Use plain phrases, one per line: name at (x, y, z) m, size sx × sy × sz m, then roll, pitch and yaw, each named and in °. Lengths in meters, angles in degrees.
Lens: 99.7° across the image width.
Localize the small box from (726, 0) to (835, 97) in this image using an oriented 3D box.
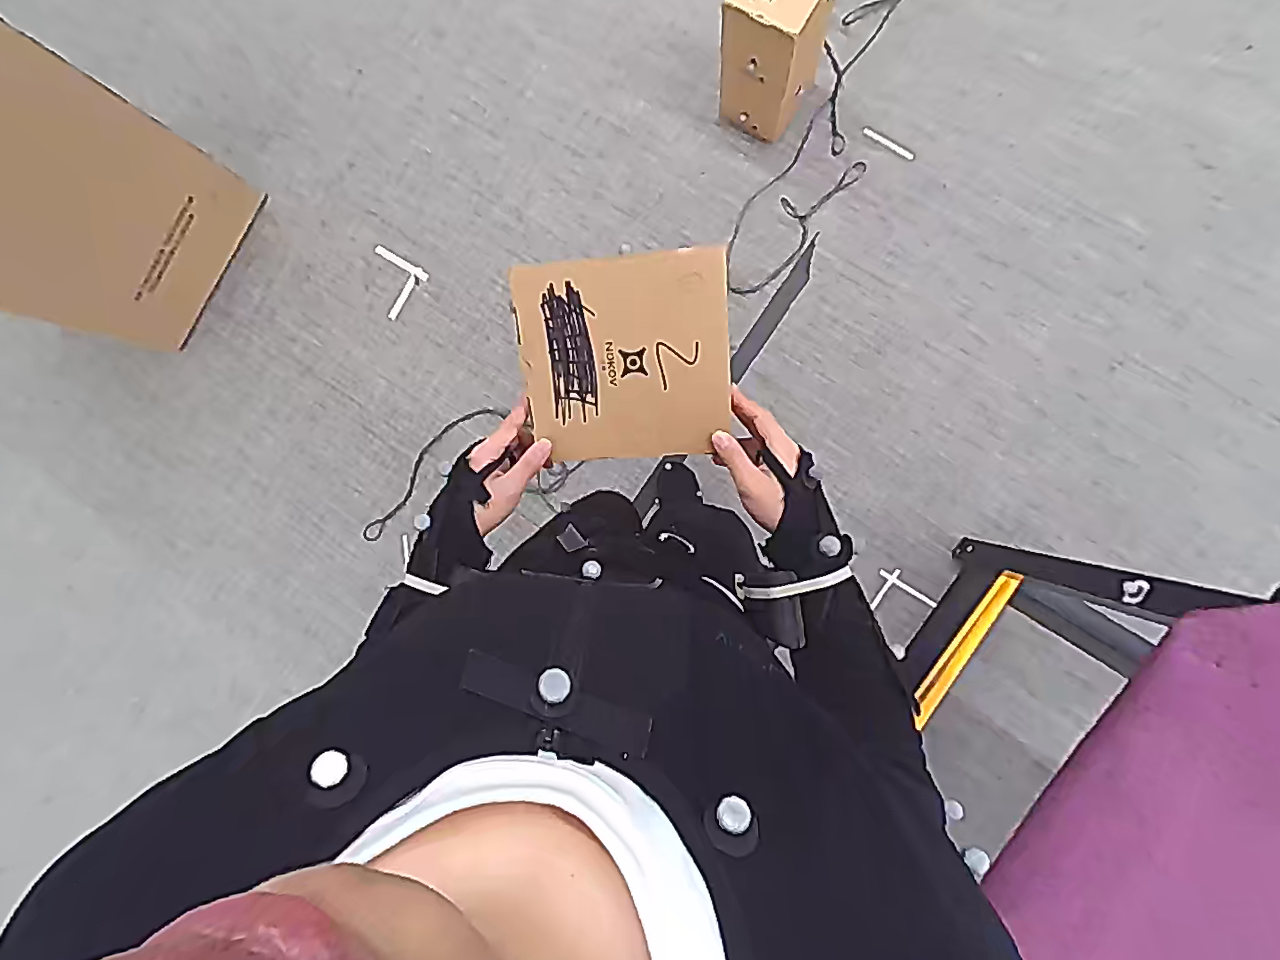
small box at (0.283, -0.943, 1.100) m, size 0.168 × 0.176 × 0.179 m, roll 32°, pitch 94°, yaw 7°

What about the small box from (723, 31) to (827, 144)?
small box at (0.303, -0.943, 1.263) m, size 0.168 × 0.176 × 0.179 m, roll 34°, pitch 94°, yaw 6°
